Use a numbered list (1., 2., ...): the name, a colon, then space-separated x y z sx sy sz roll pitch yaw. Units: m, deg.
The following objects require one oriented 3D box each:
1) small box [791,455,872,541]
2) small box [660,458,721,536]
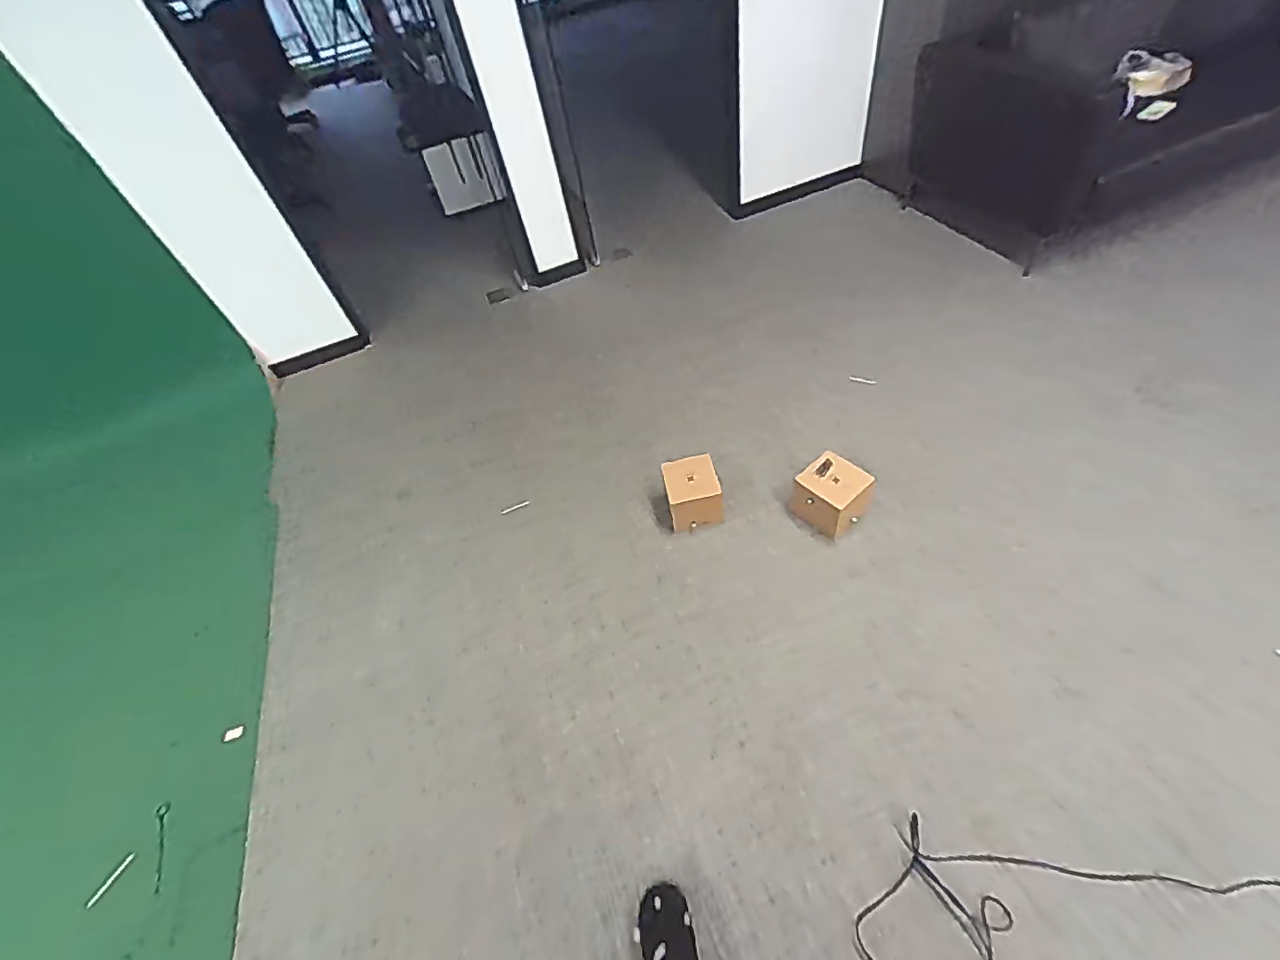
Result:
1. small box: 0.592 0.060 1.697 0.168 0.176 0.179 -37 53 -19
2. small box: 0.167 0.059 1.781 0.168 0.176 0.179 -12 48 1
